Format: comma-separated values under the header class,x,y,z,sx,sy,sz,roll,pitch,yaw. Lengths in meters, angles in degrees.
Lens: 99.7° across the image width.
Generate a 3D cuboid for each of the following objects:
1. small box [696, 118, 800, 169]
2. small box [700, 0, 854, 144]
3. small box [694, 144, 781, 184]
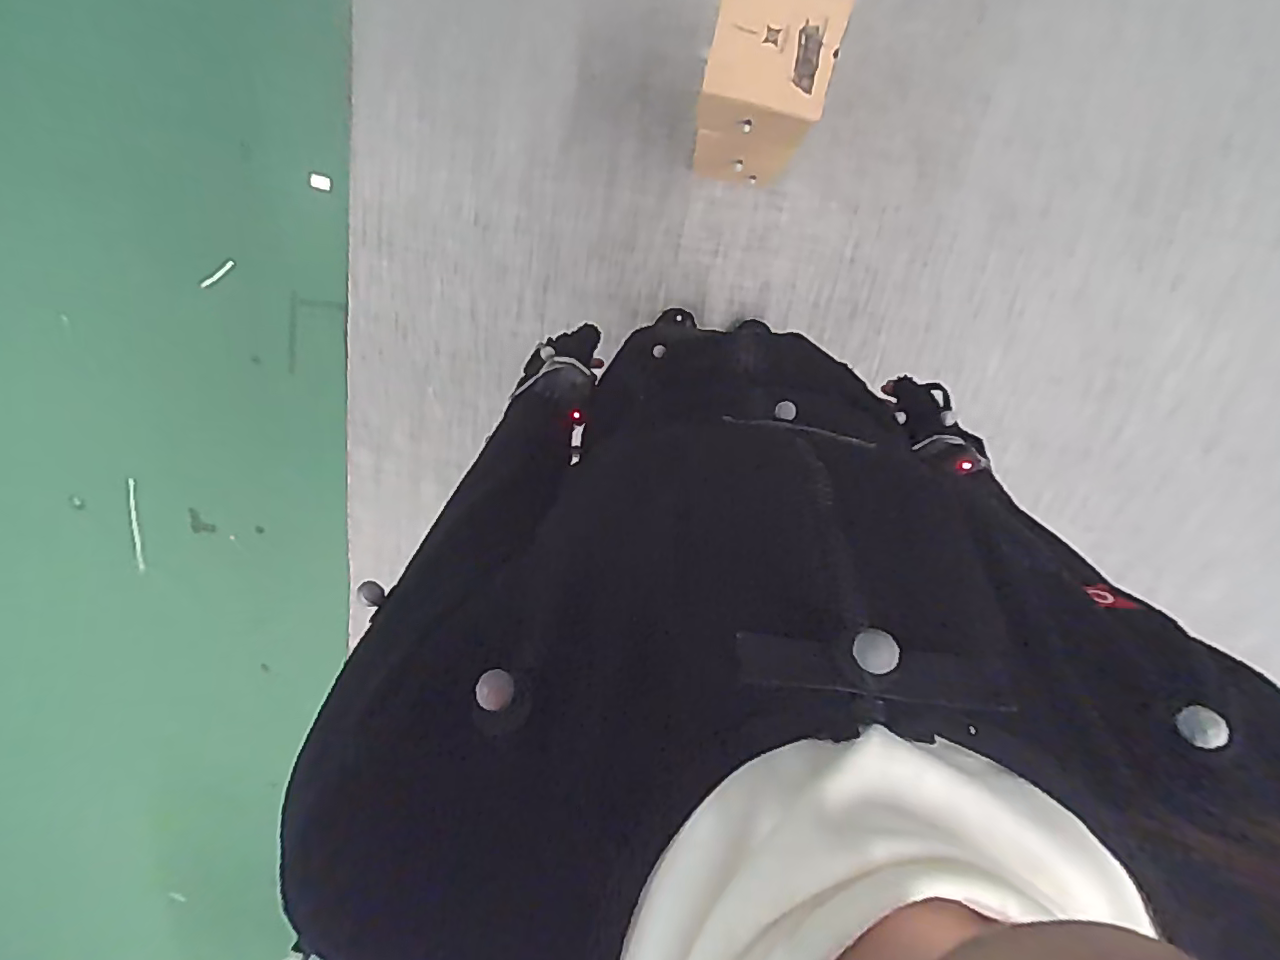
class,x,y,z,sx,sy,sz,roll,pitch,yaw
small box,0.206,-0.682,0.976,0.179,0.176,0.168,13,108,0
small box,0.195,-0.632,0.819,0.179,0.176,0.168,11,109,0
small box,0.215,-0.736,1.130,0.179,0.176,0.168,12,108,2
